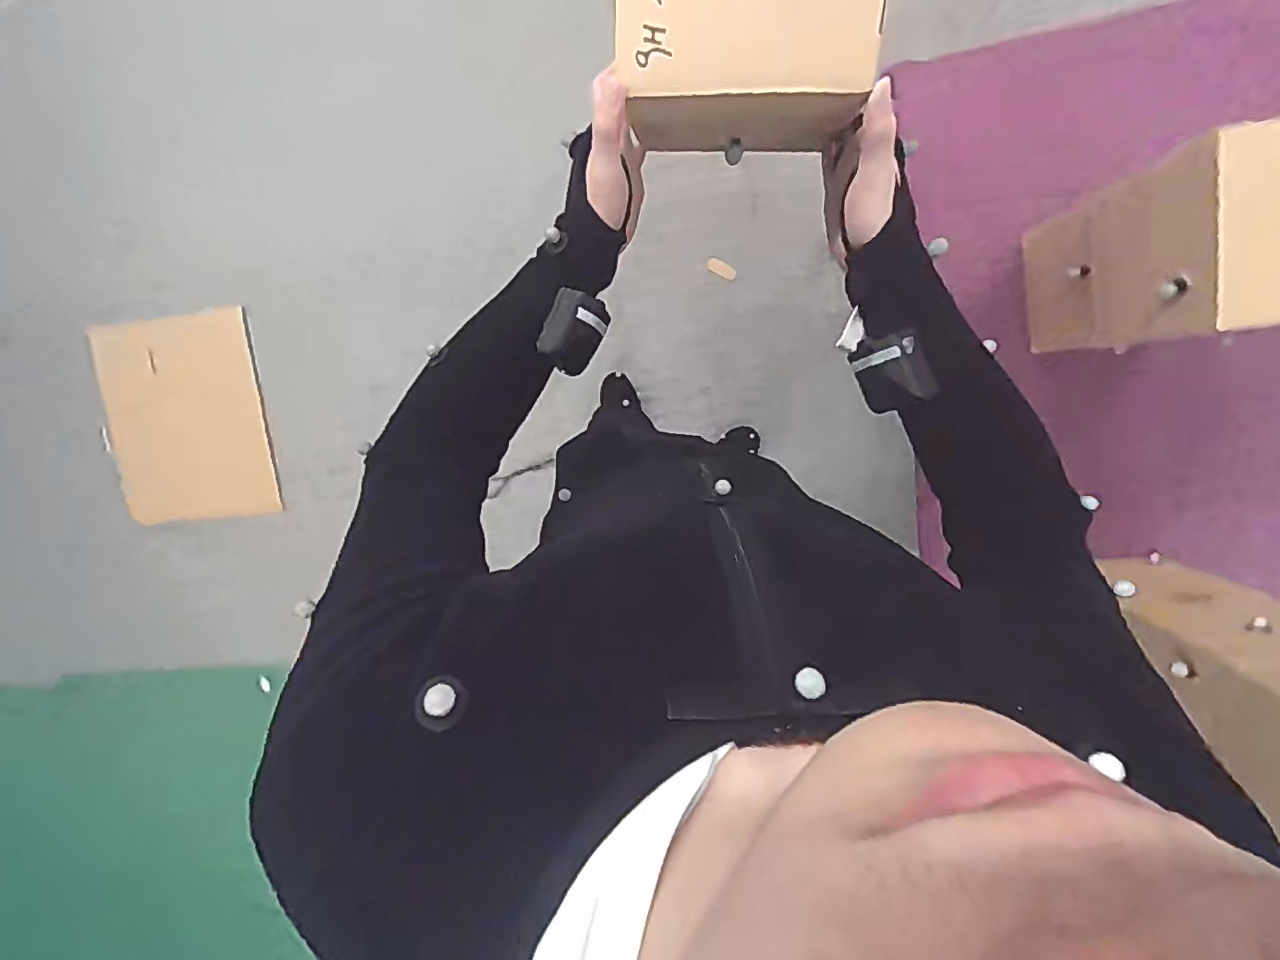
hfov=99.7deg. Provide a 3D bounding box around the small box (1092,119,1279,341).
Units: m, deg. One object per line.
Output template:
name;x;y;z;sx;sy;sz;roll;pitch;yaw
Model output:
small box;0.603;-0.240;0.548;0.168;0.176;0.179;-6;98;9

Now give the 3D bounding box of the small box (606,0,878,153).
small box;0.072;-0.364;0.413;0.179;0.176;0.168;3;109;5

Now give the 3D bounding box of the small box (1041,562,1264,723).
small box;0.710;0.219;0.771;0.168;0.176;0.179;-3;98;8

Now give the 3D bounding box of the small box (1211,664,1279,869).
small box;0.648;0.272;0.454;0.168;0.176;0.179;-1;99;9

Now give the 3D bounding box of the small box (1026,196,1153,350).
small box;0.640;-0.270;0.707;0.168;0.176;0.179;-8;97;9
